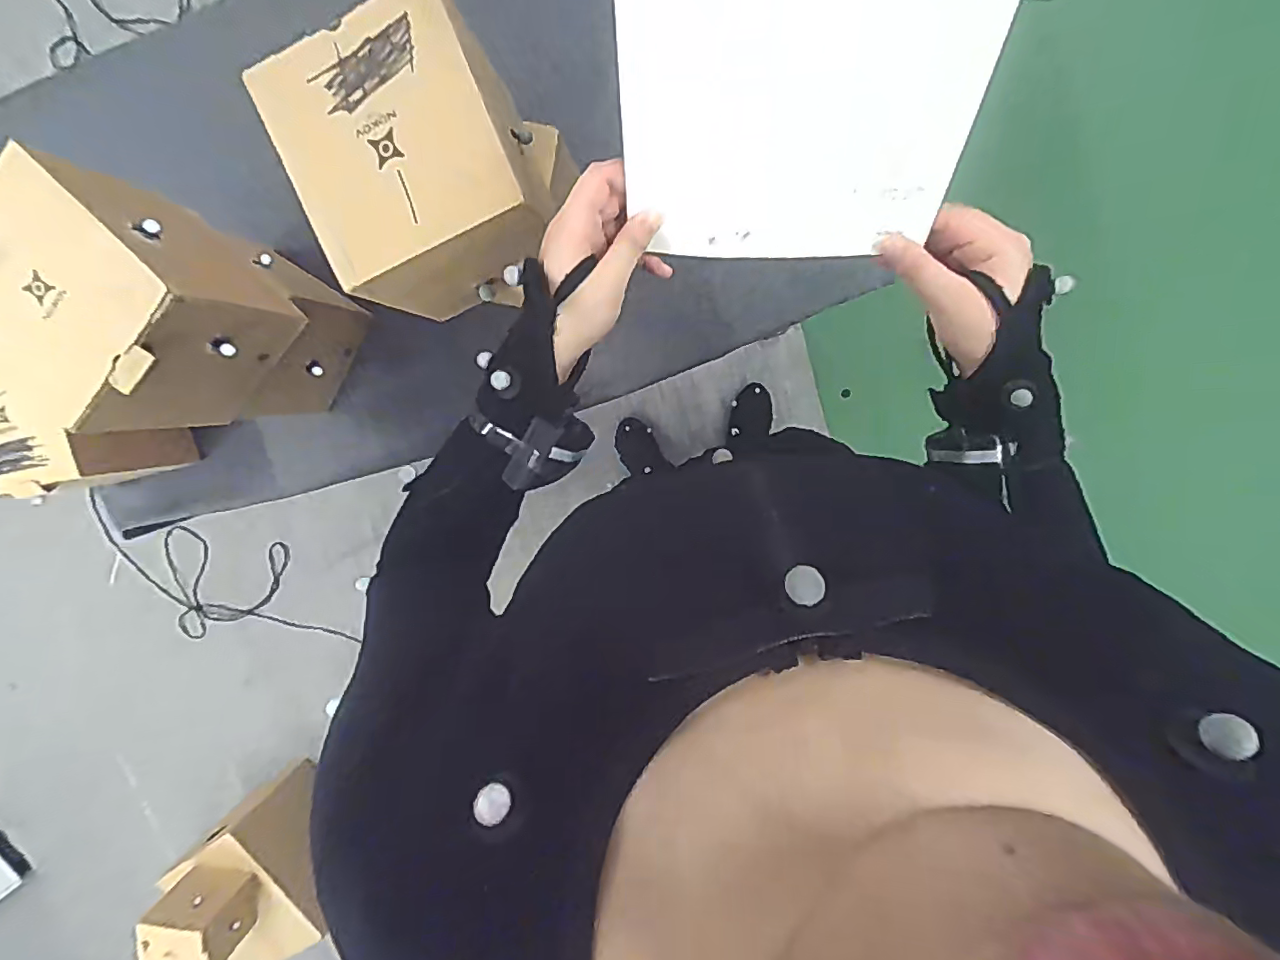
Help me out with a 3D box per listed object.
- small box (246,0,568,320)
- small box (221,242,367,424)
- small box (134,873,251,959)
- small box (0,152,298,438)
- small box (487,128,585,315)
[{"bbox_3d":[-0.184,-0.263,0.483,0.168,0.176,0.179,-21,96,10],"label":"small box"},{"bbox_3d":[-0.494,-0.190,0.692,0.179,0.176,0.168,32,100,0],"label":"small box"},{"bbox_3d":[-1.151,1.169,1.407,0.179,0.176,0.168,5,99,3],"label":"small box"},{"bbox_3d":[-0.492,-0.163,0.531,0.179,0.176,0.168,44,99,-1],"label":"small box"},{"bbox_3d":[-0.174,-0.302,0.643,0.179,0.176,0.168,12,99,5],"label":"small box"}]
